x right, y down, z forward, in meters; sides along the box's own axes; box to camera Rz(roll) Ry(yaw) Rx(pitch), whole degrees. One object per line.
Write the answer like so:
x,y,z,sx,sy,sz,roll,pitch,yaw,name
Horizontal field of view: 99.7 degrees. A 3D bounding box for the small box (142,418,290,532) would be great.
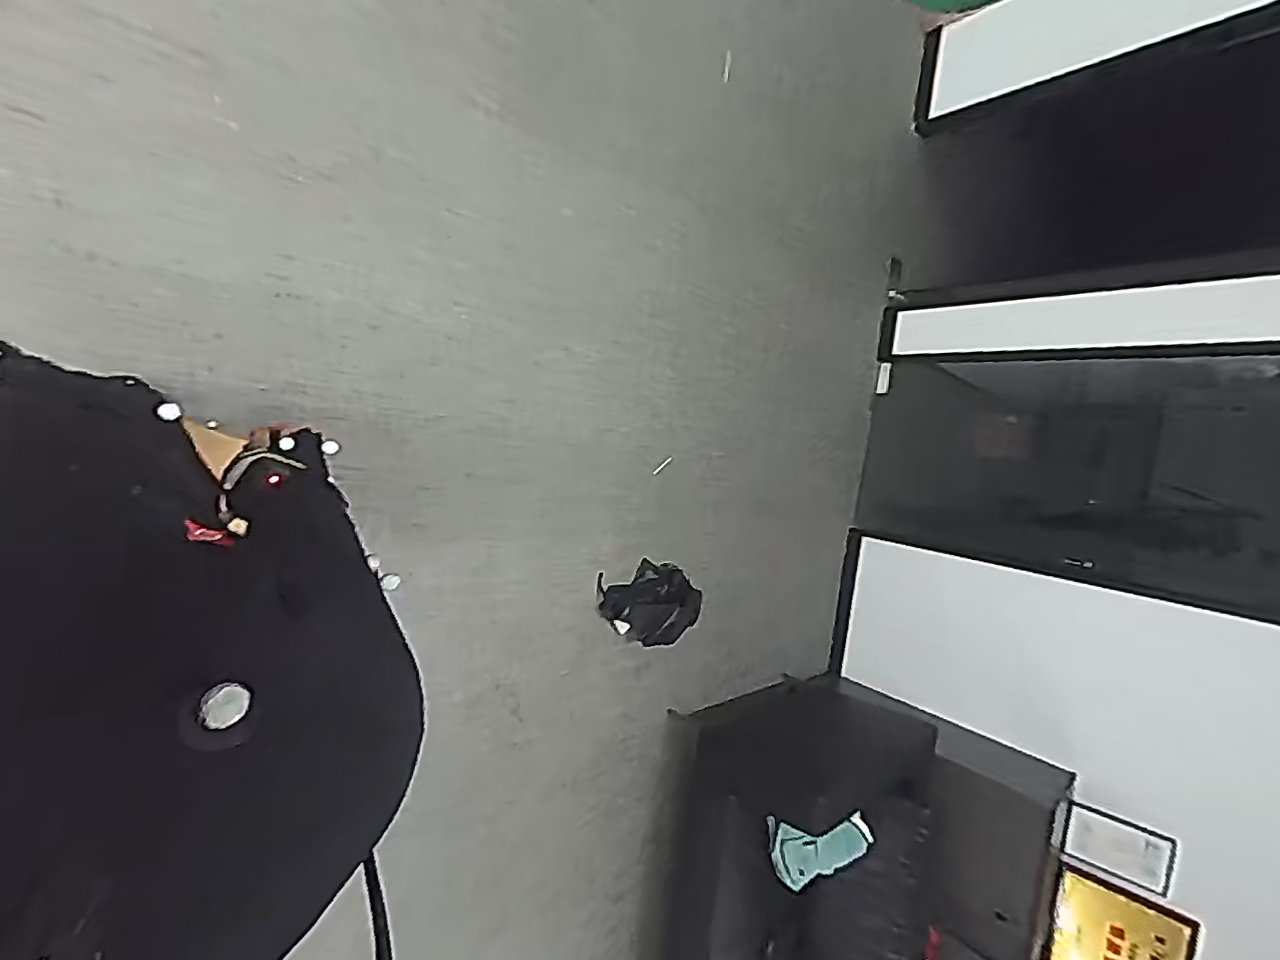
-0.821,-0.015,1.049,0.179,0.176,0.168,25,82,-42,small box
